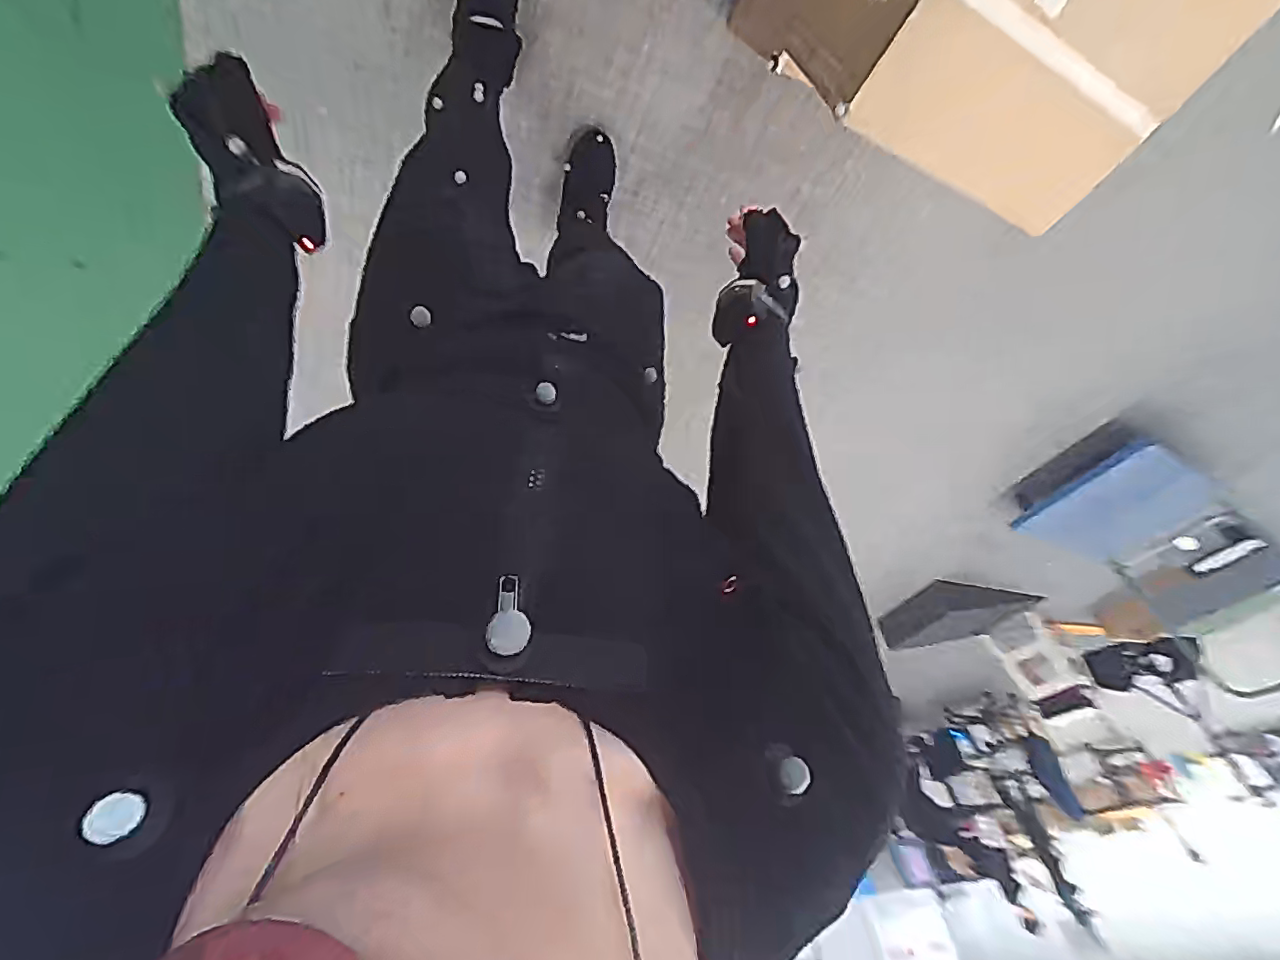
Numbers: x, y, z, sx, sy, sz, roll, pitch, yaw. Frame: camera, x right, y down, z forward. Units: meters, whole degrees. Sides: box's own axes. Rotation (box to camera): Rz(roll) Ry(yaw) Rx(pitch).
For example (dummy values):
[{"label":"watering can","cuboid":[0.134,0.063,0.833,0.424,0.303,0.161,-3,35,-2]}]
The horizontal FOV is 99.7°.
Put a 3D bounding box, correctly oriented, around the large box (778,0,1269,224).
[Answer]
[{"label":"large box","cuboid":[0.460,-0.620,0.714,0.408,0.320,0.320,12,139,-22]}]
